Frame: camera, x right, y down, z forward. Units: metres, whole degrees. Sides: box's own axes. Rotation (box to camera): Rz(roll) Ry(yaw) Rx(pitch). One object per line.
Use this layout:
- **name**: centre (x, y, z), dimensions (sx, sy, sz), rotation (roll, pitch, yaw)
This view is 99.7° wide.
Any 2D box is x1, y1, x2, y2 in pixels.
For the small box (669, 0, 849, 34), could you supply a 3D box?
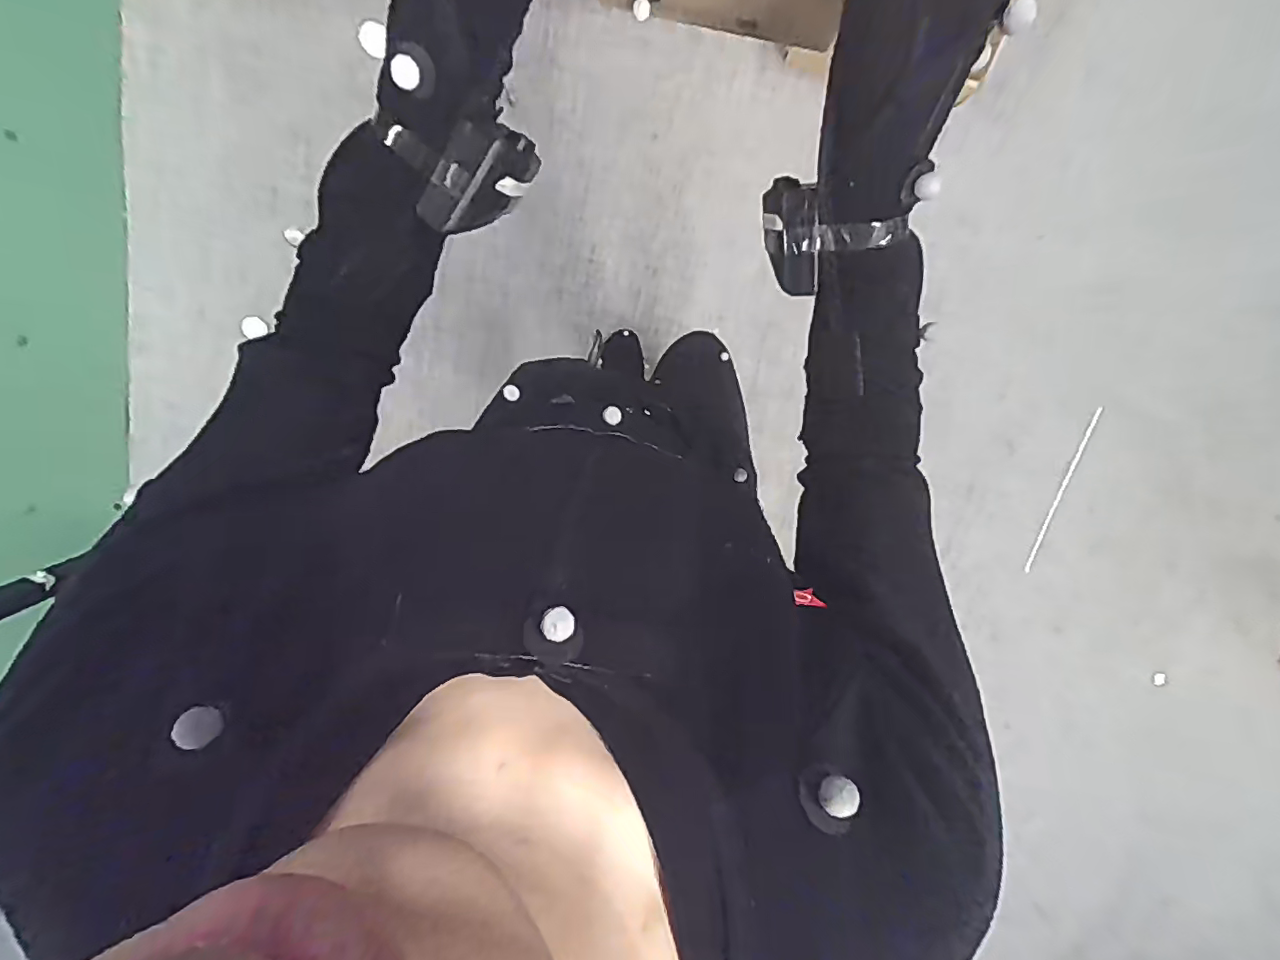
- **small box**: centre (0.066, -0.374, 0.275), dimensions (0.168, 0.176, 0.179), rotation (10, 108, -1)
